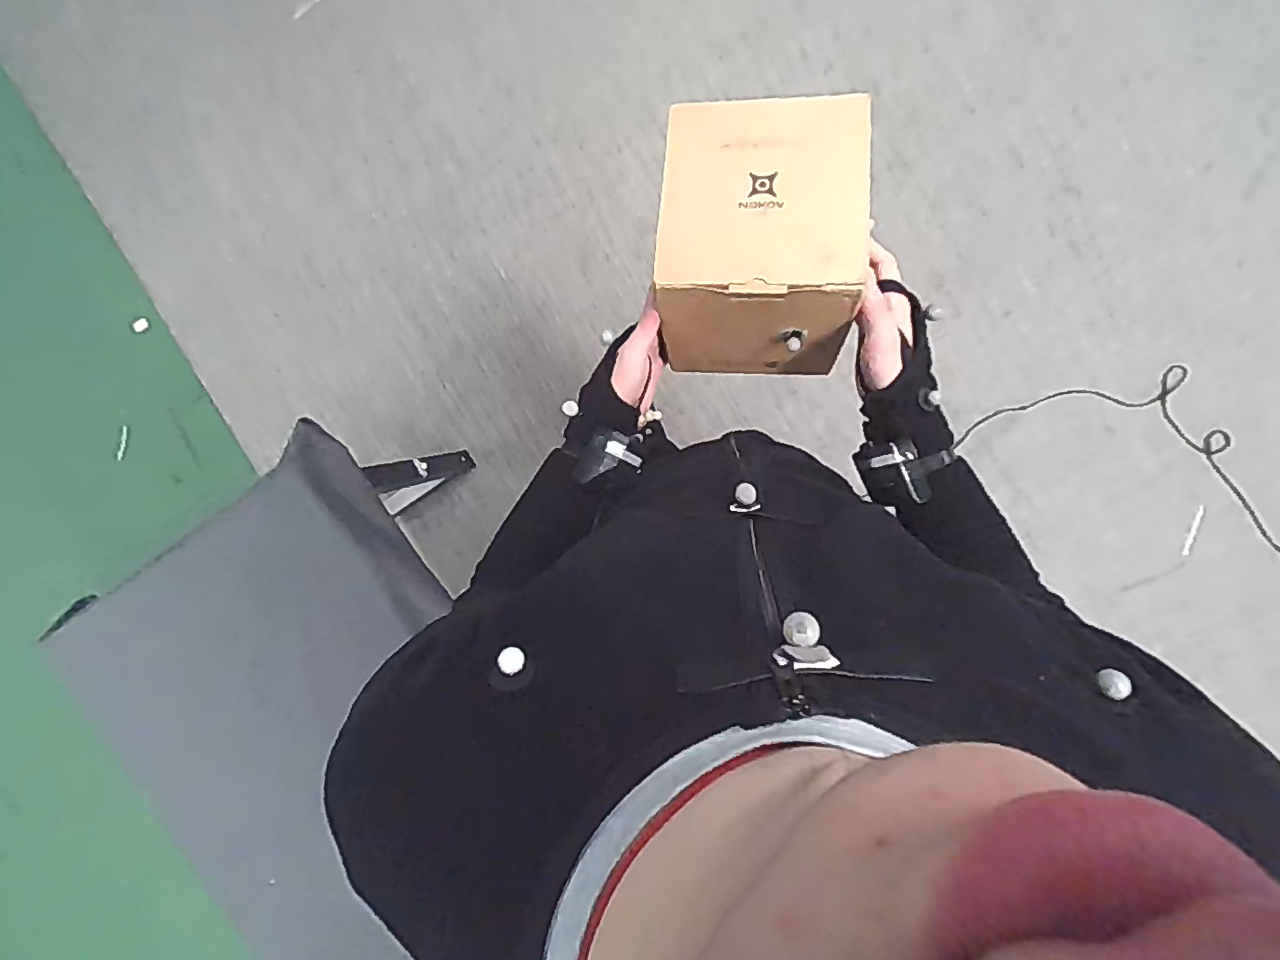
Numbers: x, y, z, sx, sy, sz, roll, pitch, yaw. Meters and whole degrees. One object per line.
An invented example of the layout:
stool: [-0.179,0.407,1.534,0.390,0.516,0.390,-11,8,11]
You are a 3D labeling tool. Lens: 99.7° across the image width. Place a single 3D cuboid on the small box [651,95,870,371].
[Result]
small box: [0.108,-0.215,0.509,0.168,0.176,0.179,4,77,8]
